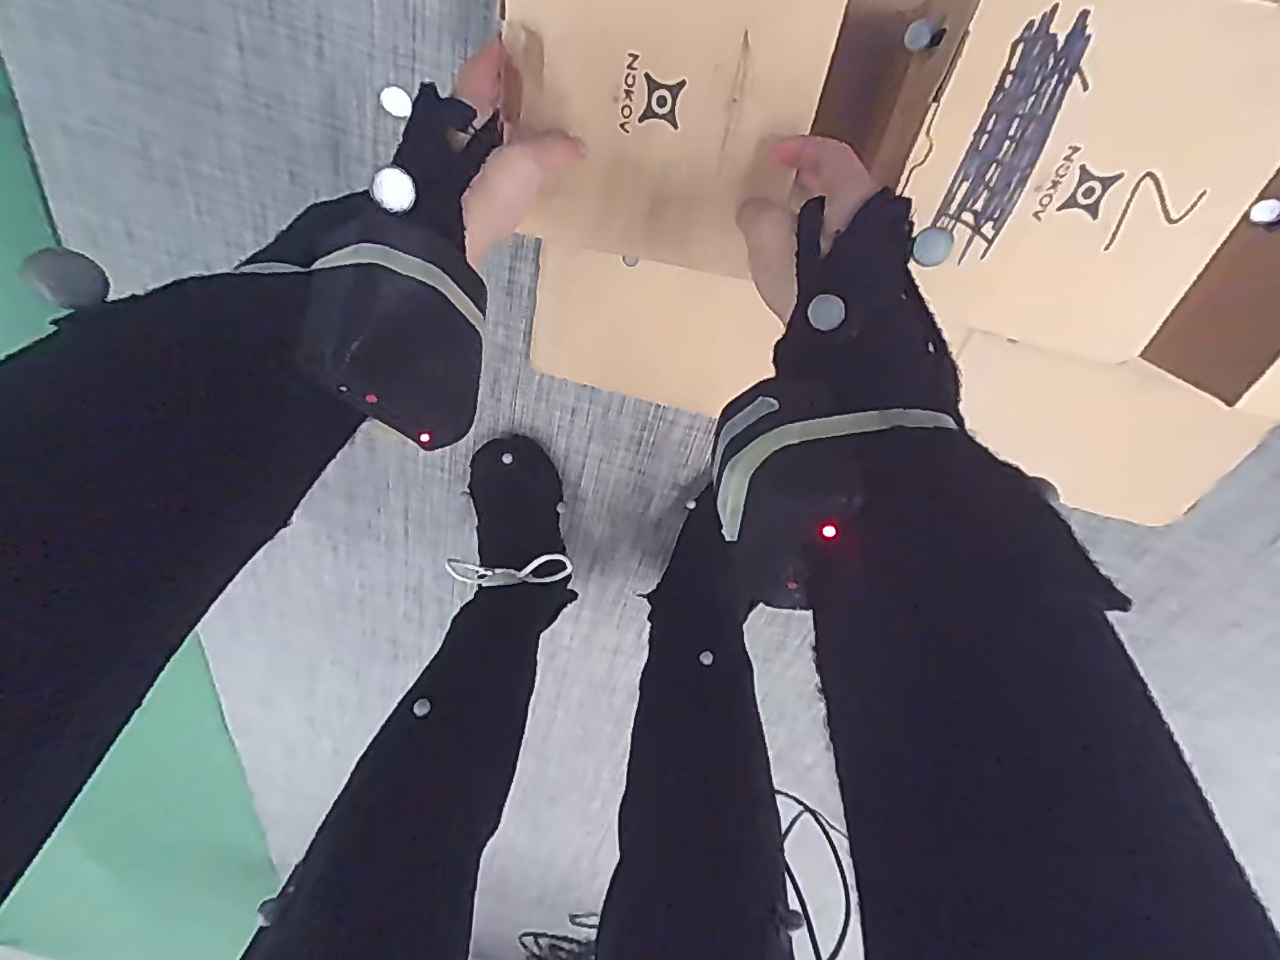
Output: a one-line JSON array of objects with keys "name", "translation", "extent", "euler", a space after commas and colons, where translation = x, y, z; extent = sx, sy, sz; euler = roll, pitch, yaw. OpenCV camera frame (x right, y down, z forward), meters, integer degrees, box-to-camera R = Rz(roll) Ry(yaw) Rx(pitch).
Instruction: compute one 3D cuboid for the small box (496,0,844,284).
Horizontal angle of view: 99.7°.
[{"name": "small box", "translation": [0.016, -0.250, 0.366], "extent": [0.179, 0.176, 0.168], "euler": [11, 124, 0]}]
